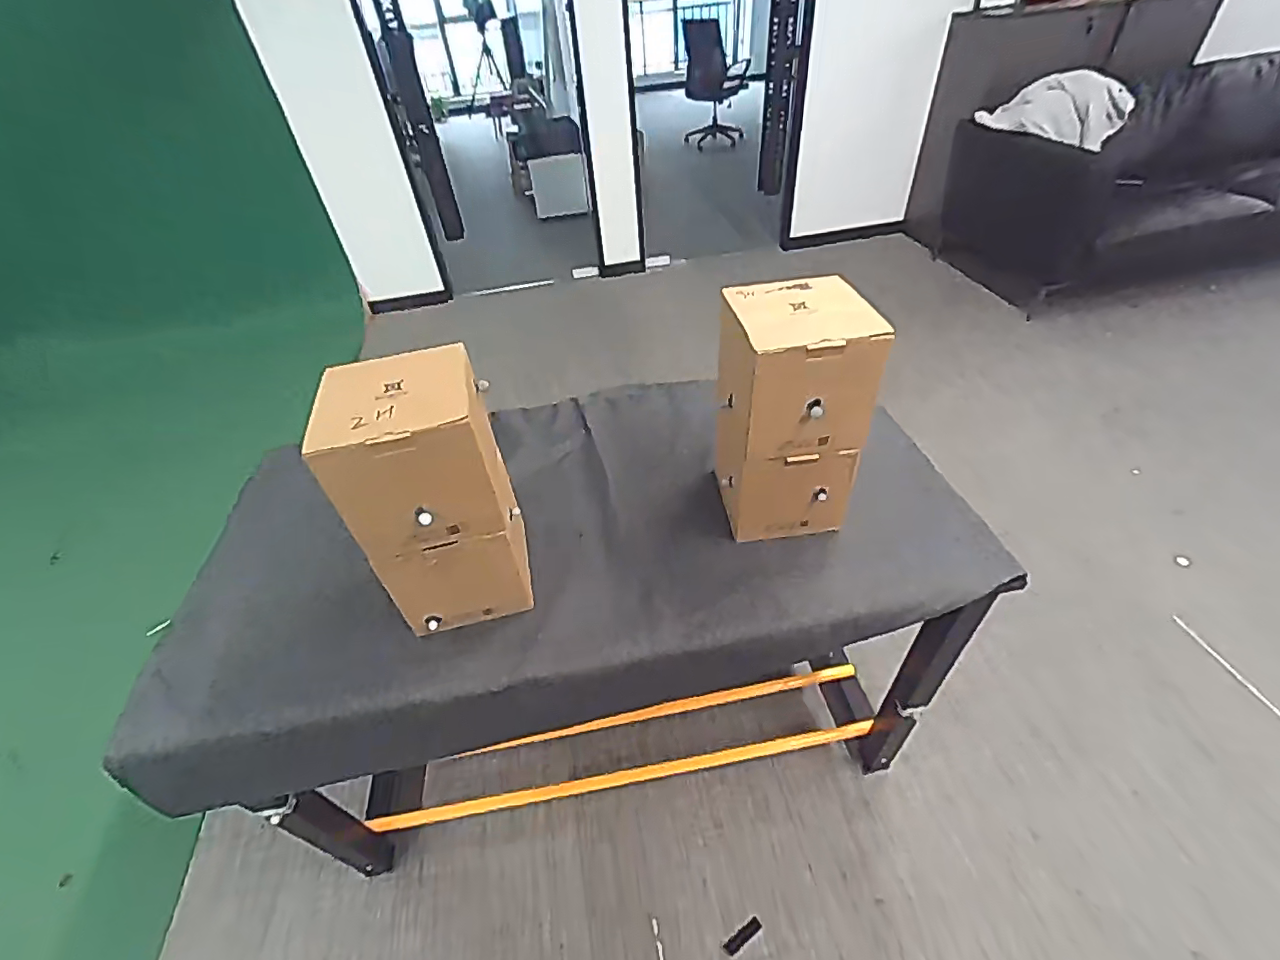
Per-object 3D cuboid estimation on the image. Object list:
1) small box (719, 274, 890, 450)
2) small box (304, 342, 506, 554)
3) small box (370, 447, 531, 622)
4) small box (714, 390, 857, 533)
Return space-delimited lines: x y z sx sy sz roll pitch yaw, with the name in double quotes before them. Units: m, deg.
"small box" 0.205 -0.153 0.729 0.168 0.176 0.179 -7 43 -2
"small box" -0.268 -0.041 0.655 0.168 0.176 0.179 -14 44 -8
"small box" -0.256 0.081 0.766 0.168 0.176 0.179 -12 42 -7
"small box" 0.212 -0.032 0.840 0.168 0.176 0.179 -6 42 -2
